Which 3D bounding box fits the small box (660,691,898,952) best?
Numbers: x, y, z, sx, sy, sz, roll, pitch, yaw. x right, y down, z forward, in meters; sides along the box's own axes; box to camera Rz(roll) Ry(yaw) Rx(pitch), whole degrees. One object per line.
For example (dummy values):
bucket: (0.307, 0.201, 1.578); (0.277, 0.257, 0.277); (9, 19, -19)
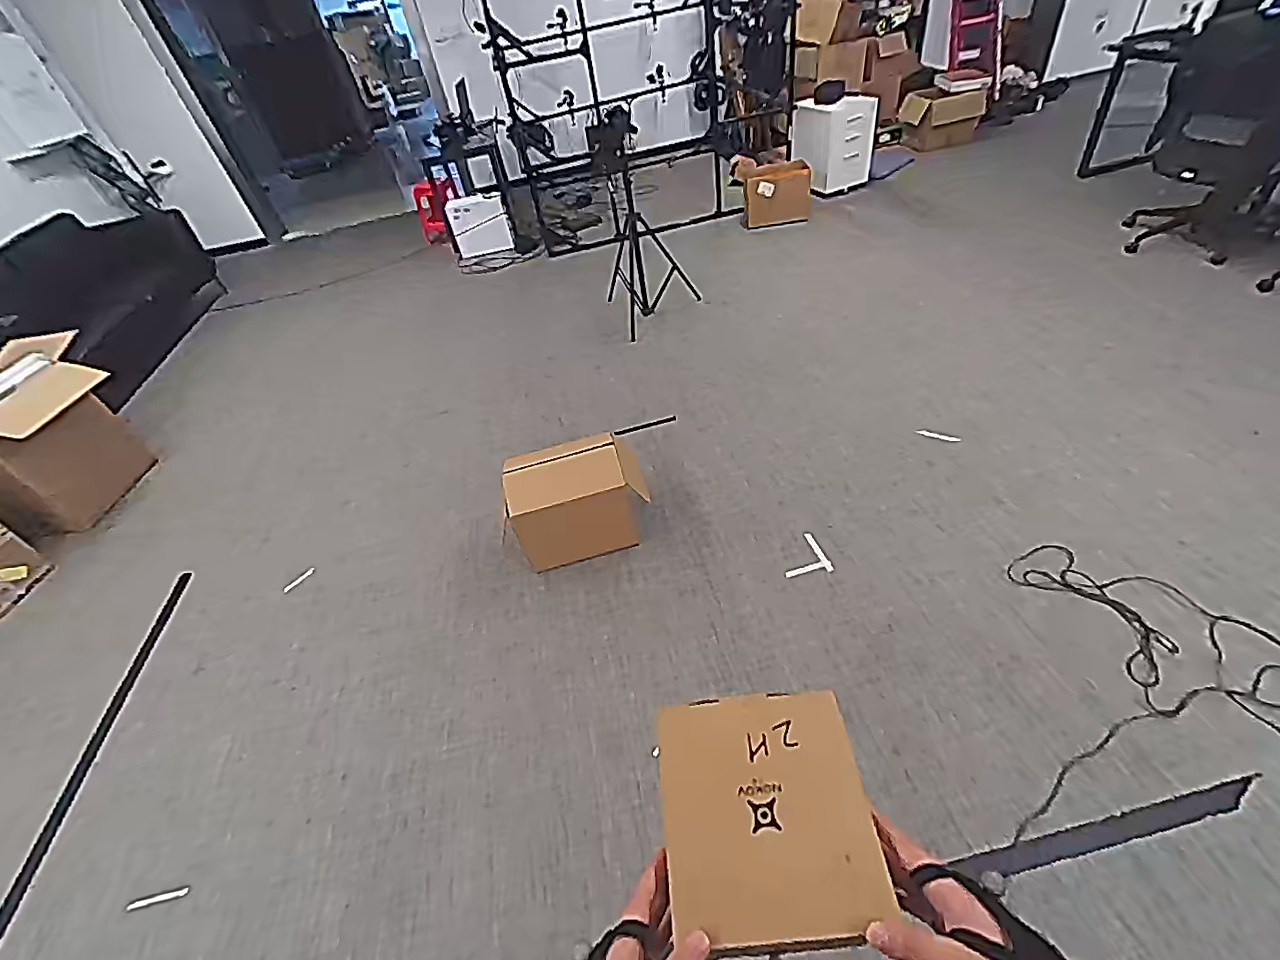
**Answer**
small box: (0.111, 0.322, 0.505); (0.168, 0.176, 0.179); (-5, 46, 1)
